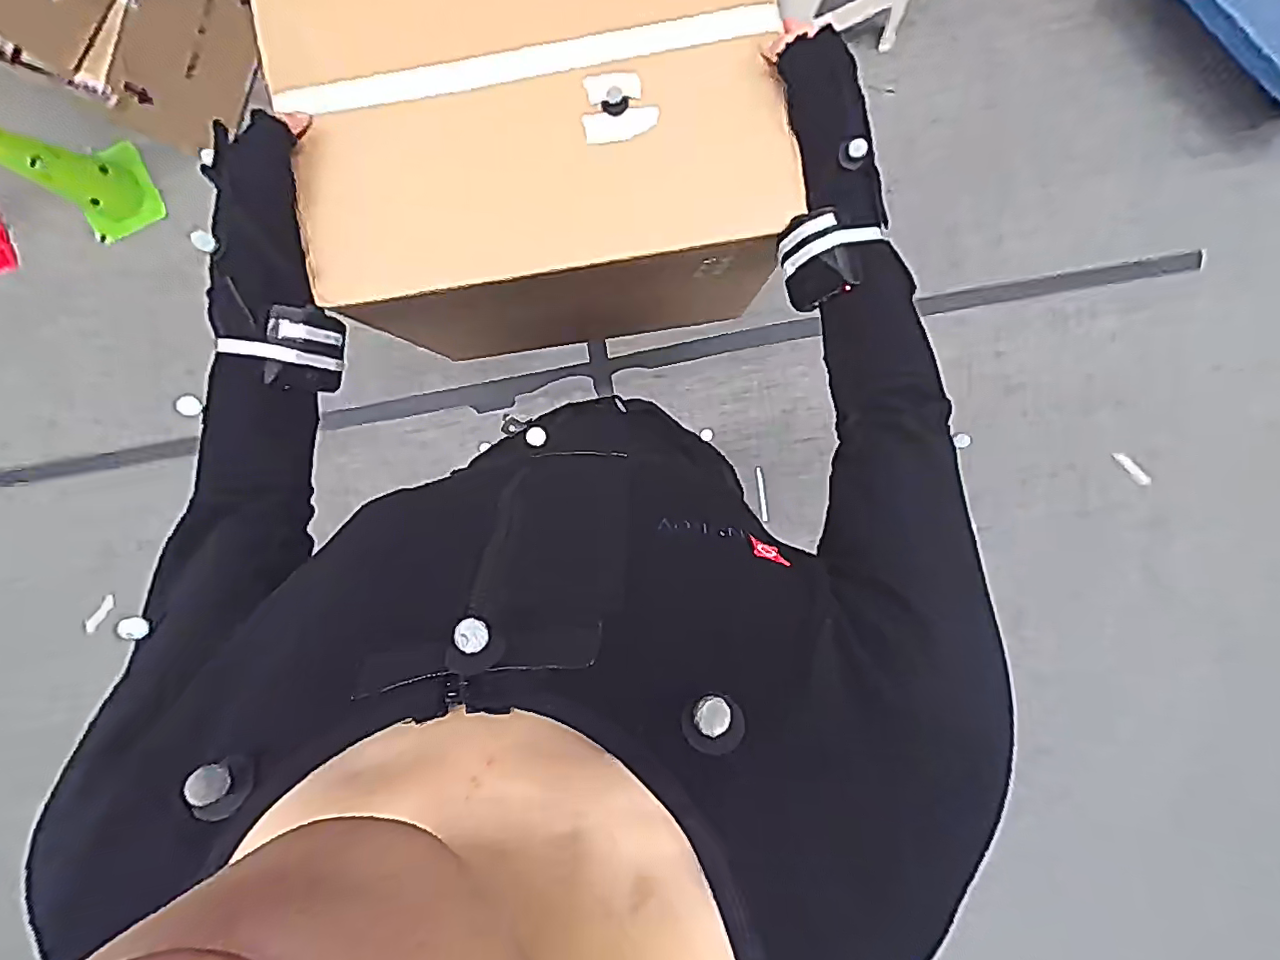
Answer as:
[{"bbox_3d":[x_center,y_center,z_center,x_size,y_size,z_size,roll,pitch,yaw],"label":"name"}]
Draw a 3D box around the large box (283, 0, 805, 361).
[{"bbox_3d":[-0.081,-0.338,0.590,0.408,0.320,0.320,-9,94,1],"label":"large box"}]
